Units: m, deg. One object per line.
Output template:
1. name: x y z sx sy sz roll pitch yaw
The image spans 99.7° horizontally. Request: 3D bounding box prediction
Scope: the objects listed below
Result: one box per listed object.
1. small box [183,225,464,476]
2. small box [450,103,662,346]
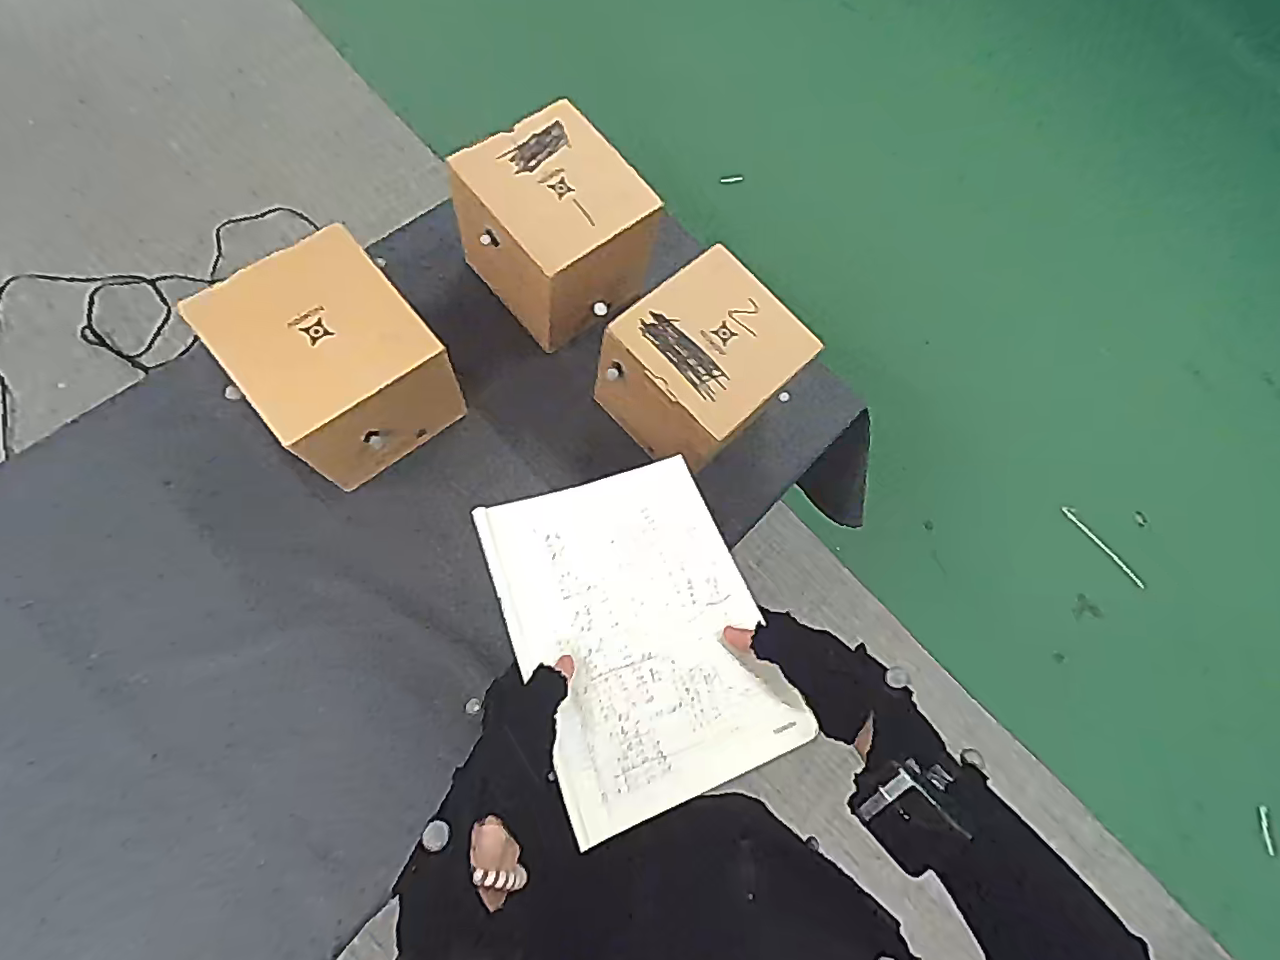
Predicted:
1. small box: -0.314 -0.121 0.581 0.168 0.176 0.179 -39 84 -17
2. small box: -0.102 -0.301 0.664 0.168 0.176 0.179 -39 84 -17
